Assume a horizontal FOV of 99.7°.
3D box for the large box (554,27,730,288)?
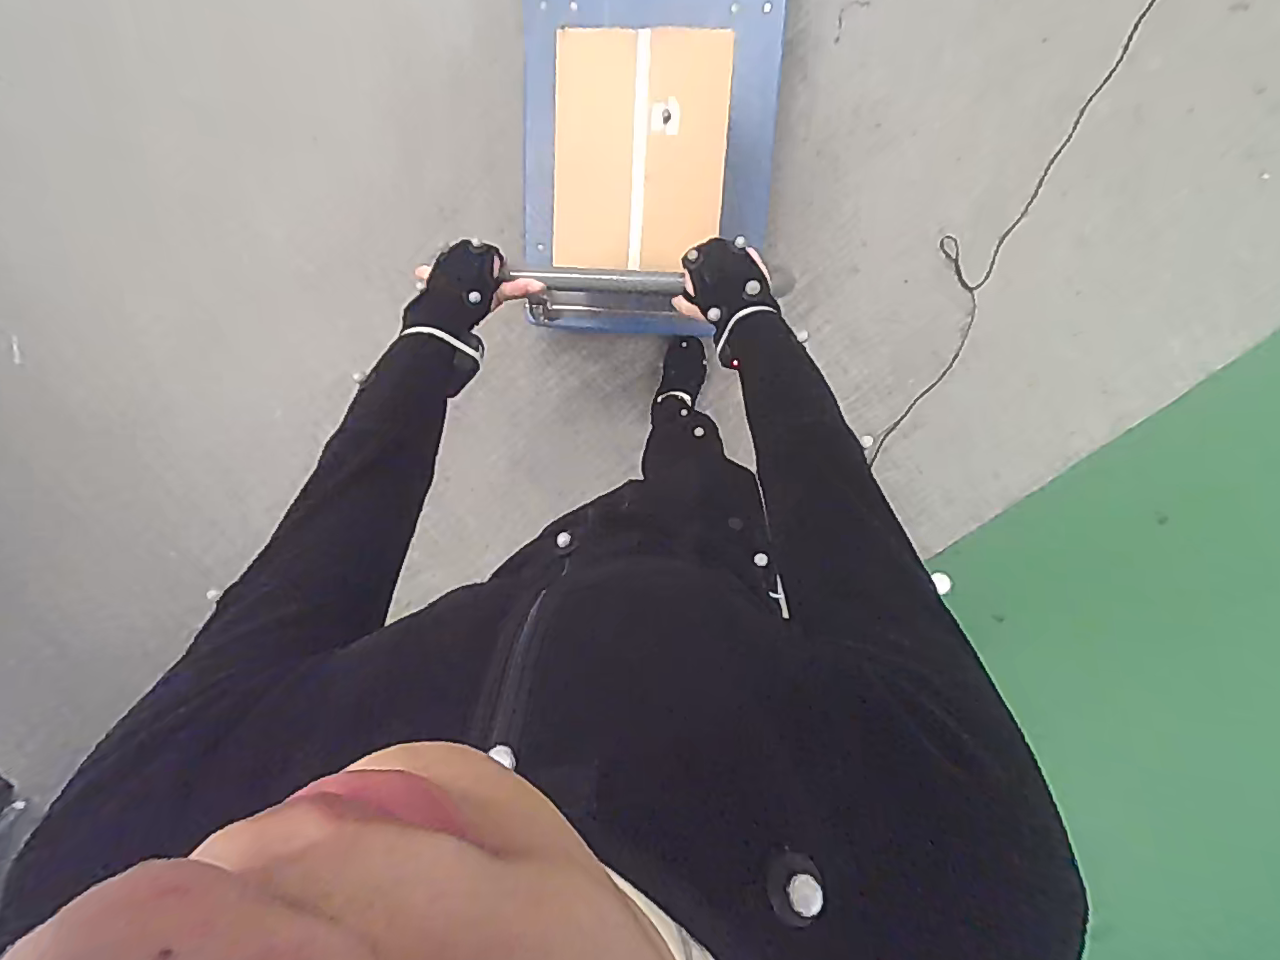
[{"bbox_3d":[0.010,-0.634,1.141,0.320,0.320,0.408,5,103,4],"label":"large box"}]
